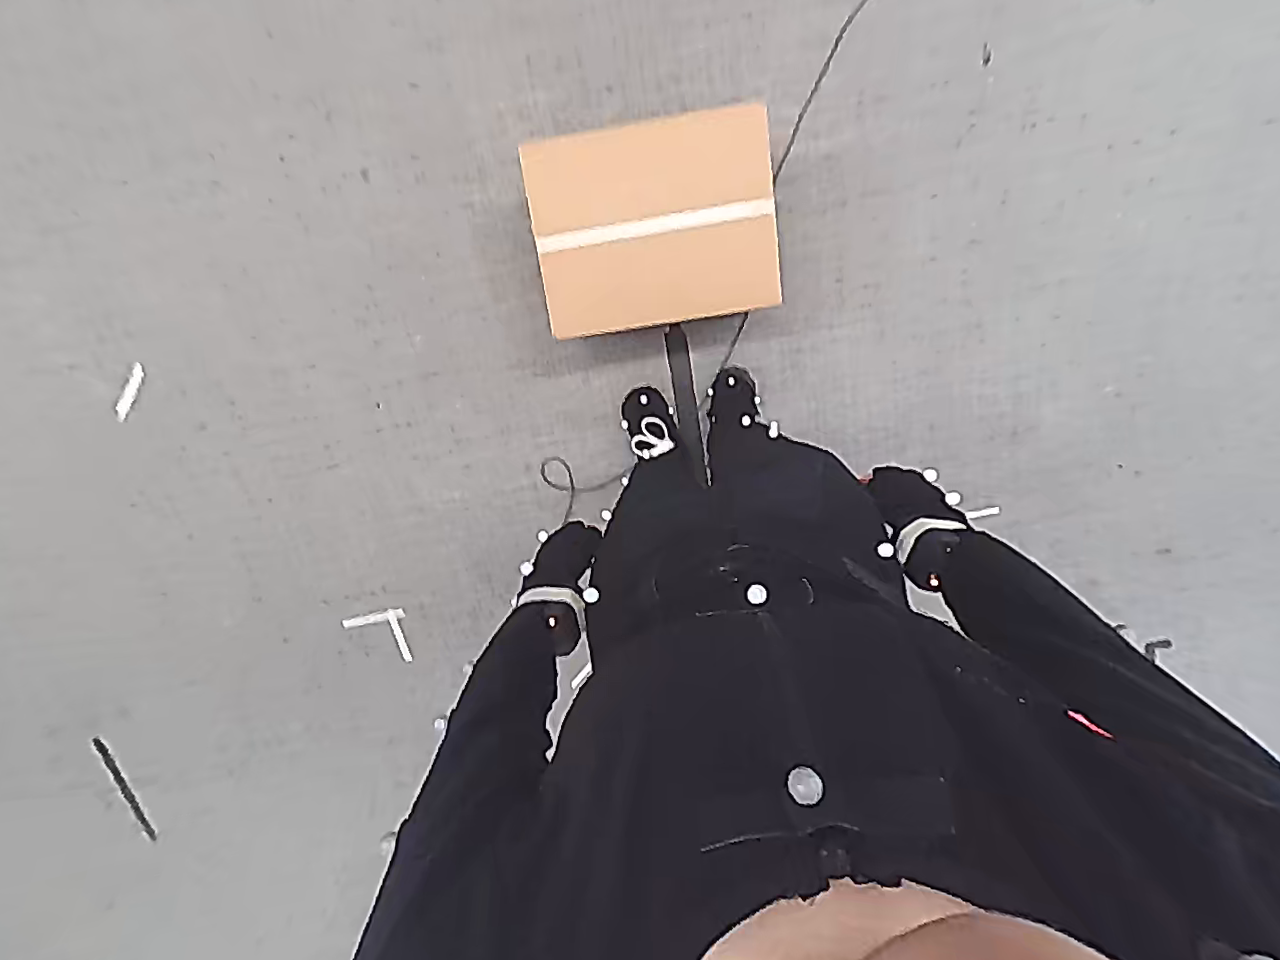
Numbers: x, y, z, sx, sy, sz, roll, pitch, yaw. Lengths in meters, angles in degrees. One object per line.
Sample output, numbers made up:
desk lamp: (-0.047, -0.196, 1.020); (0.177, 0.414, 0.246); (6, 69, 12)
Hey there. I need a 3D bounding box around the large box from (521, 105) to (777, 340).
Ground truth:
large box: (0.023, -0.466, 1.059); (0.408, 0.320, 0.320); (-8, 107, 3)
